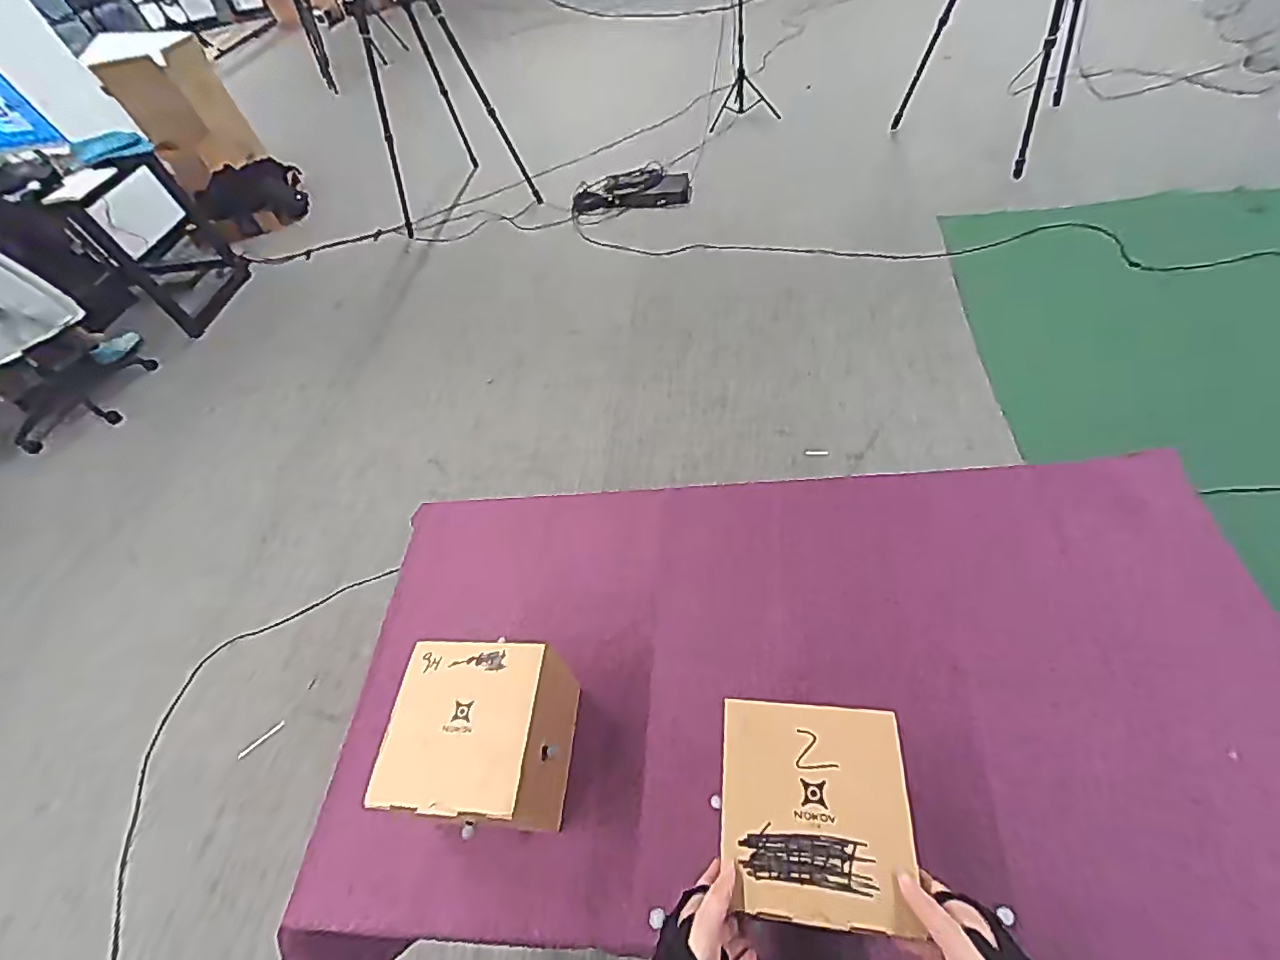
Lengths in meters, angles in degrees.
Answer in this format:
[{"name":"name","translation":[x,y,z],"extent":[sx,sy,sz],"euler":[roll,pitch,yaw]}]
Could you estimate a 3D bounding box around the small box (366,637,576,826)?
[{"name":"small box","translation":[-0.184,0.305,0.653],"extent":[0.168,0.176,0.179],"euler":[0,54,10]}]
